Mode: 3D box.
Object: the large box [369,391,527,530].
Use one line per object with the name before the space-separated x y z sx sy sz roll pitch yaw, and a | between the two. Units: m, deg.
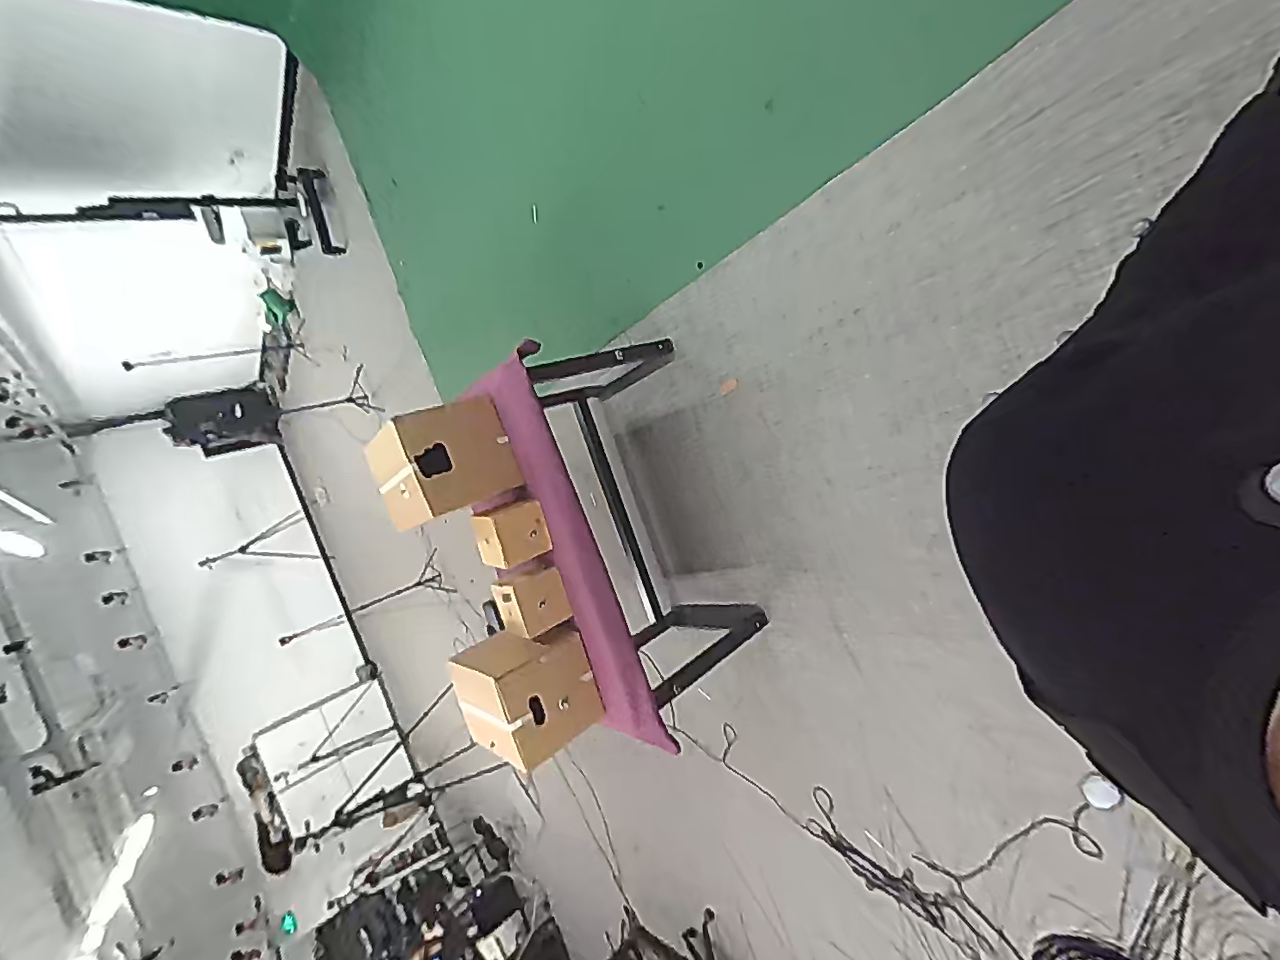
large box | -0.630 -0.058 1.756 0.408 0.320 0.320 -18 95 50
